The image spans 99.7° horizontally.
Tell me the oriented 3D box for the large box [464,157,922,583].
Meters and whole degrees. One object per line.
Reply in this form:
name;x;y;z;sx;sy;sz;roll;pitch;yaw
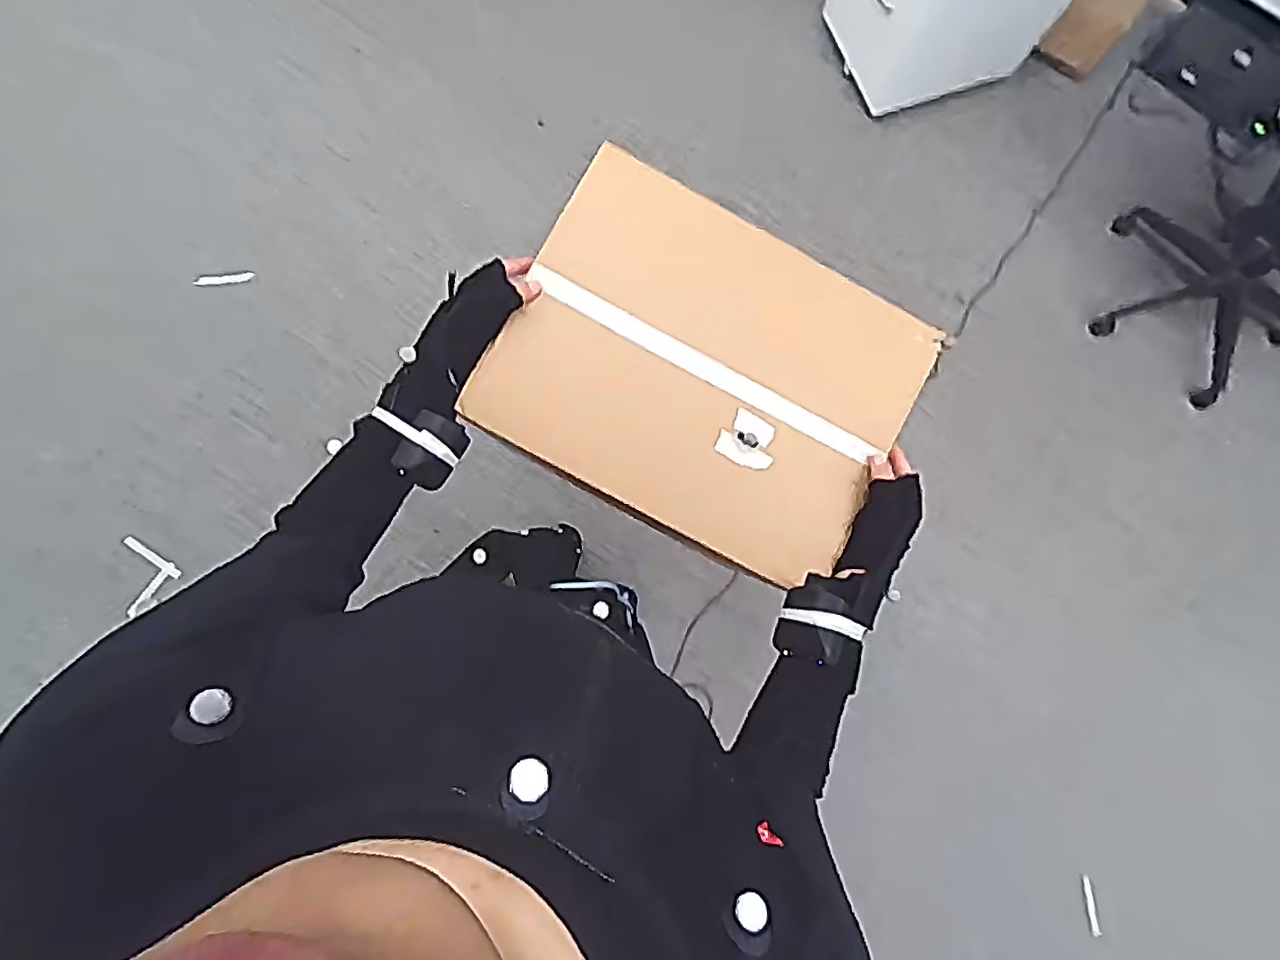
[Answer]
large box;0.049;-0.107;0.705;0.408;0.320;0.320;28;85;-4
